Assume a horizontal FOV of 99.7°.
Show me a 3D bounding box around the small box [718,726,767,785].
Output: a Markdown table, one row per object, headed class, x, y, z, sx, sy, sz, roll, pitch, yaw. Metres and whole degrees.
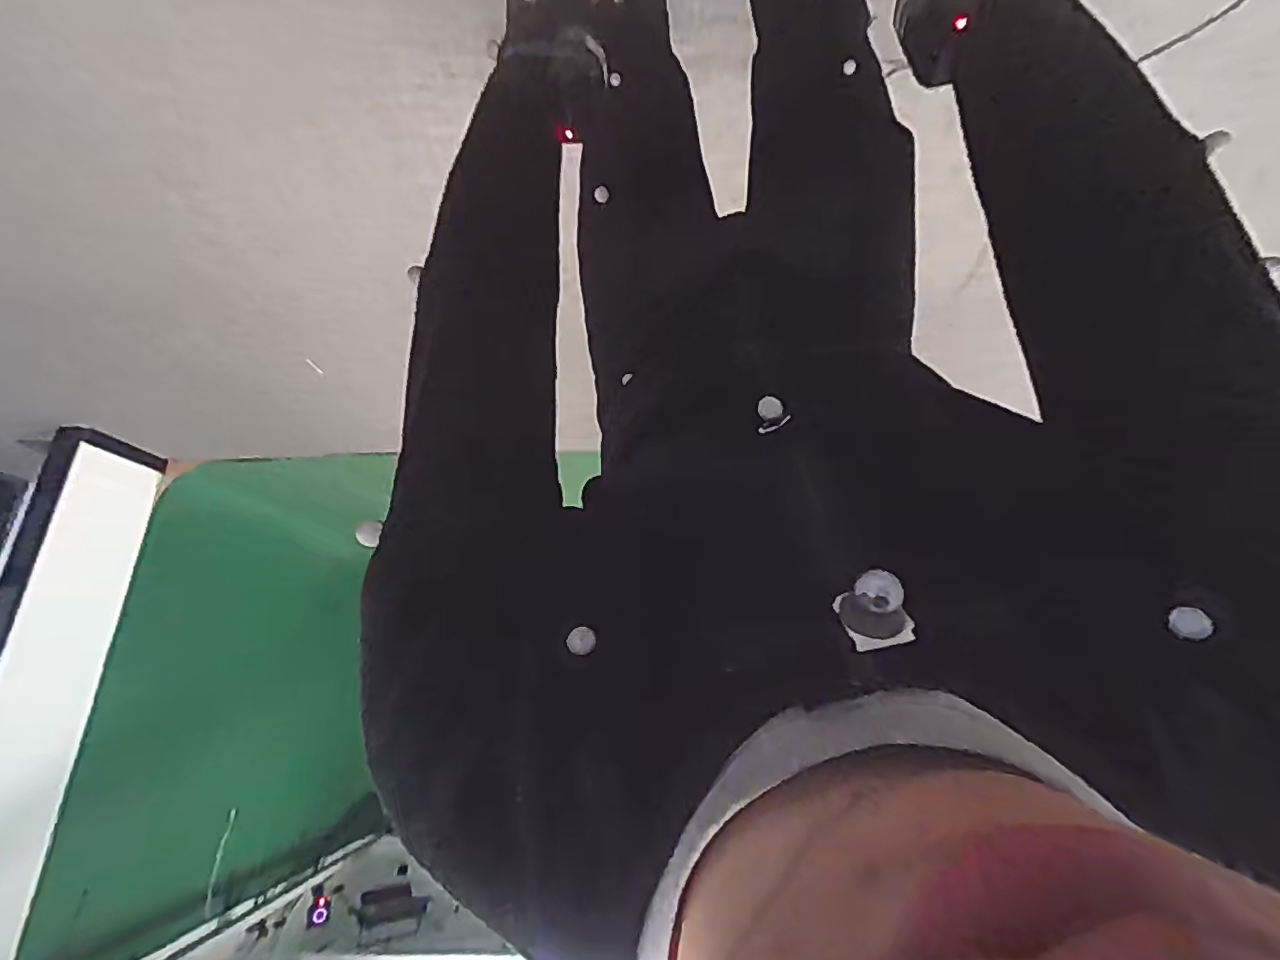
| class | x | y | z | sx | sy | sz | roll | pitch | yaw |
| --- | --- | --- | --- | --- | --- | --- | --- | --- | --- |
| small box | 0.374 | 1.001 | 1.977 | 0.168 | 0.176 | 0.179 | -2 | 162 | 12 |
